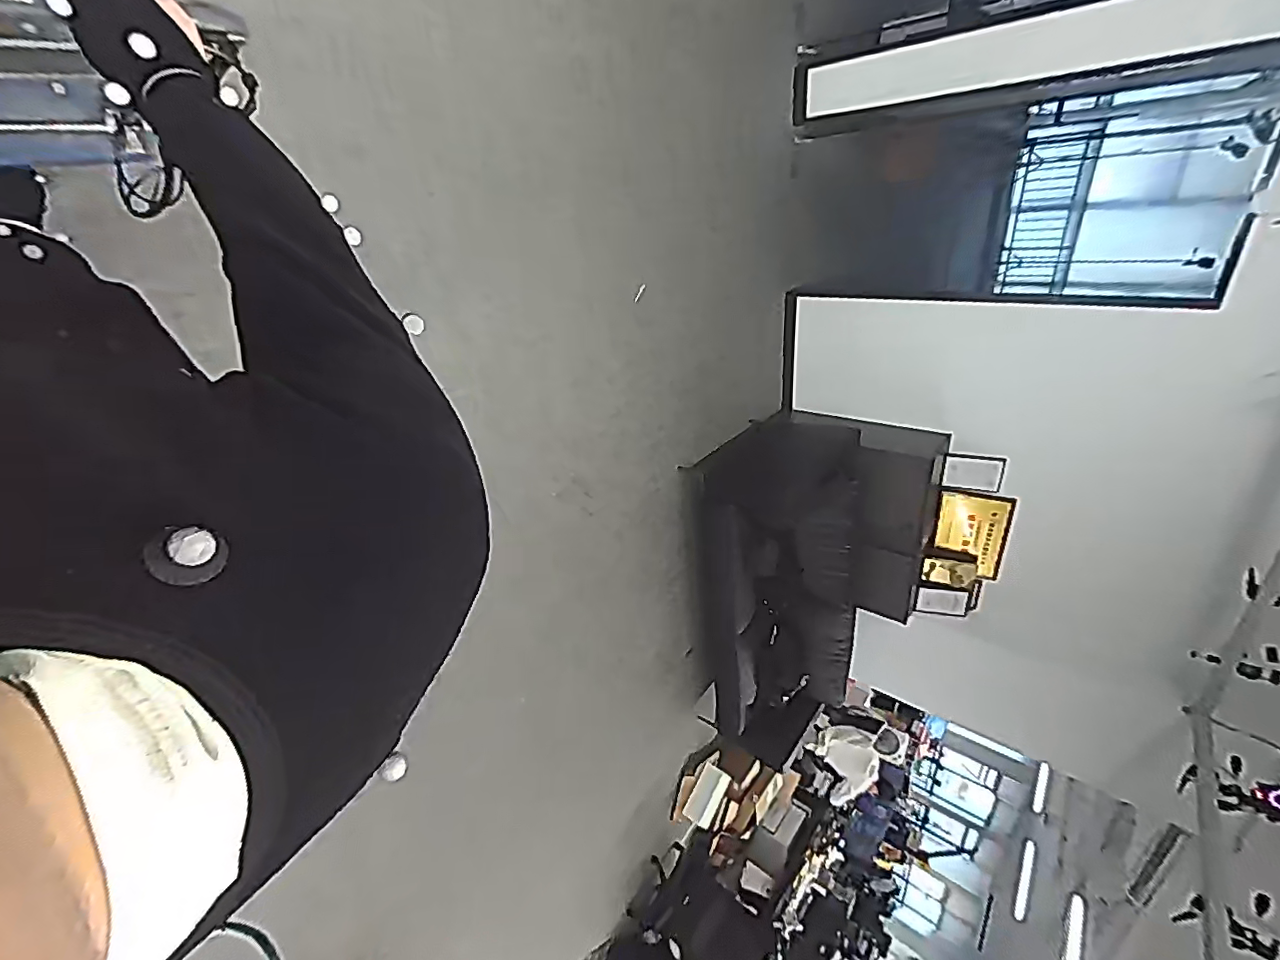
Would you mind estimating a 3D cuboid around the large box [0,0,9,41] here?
[{"bbox_3d":[-1.014,-0.759,0.581,0.320,0.320,0.408,-32,127,-43],"label":"large box"}]
